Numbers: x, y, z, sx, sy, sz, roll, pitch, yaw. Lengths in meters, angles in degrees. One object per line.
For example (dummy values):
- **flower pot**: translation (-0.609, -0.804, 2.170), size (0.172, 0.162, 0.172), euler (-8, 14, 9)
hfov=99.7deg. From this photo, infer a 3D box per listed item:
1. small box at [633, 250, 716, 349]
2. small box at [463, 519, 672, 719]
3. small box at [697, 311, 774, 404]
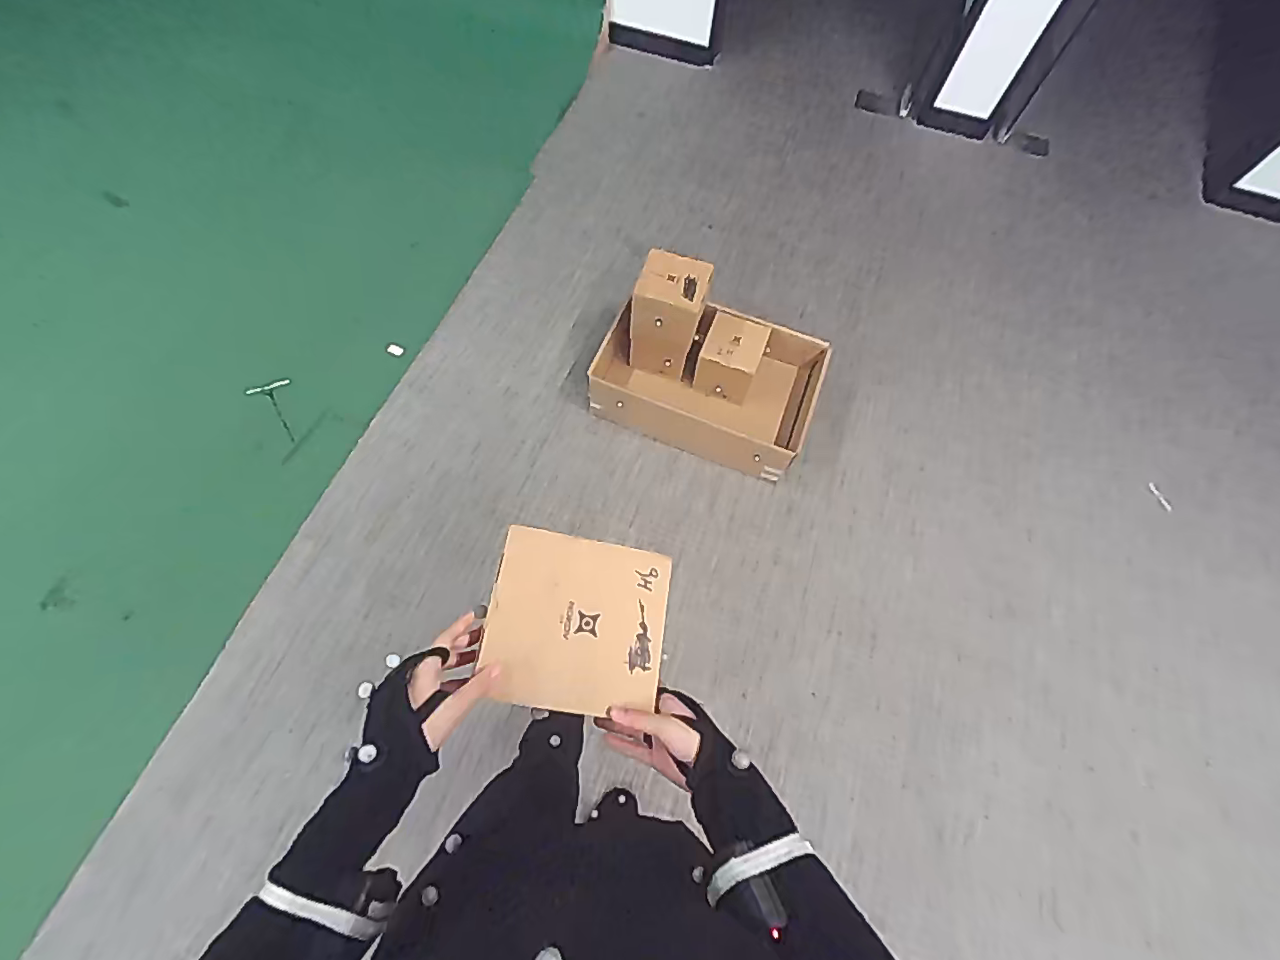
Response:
- **small box**: translation (0.088, -0.479, 1.457), size (0.179, 0.176, 0.168), euler (17, 68, 6)
- **small box**: translation (-0.079, 0.158, 0.599), size (0.179, 0.176, 0.168), euler (13, 69, -8)
- **small box**: translation (0.274, -0.355, 1.589), size (0.168, 0.176, 0.179), euler (20, 68, 8)
